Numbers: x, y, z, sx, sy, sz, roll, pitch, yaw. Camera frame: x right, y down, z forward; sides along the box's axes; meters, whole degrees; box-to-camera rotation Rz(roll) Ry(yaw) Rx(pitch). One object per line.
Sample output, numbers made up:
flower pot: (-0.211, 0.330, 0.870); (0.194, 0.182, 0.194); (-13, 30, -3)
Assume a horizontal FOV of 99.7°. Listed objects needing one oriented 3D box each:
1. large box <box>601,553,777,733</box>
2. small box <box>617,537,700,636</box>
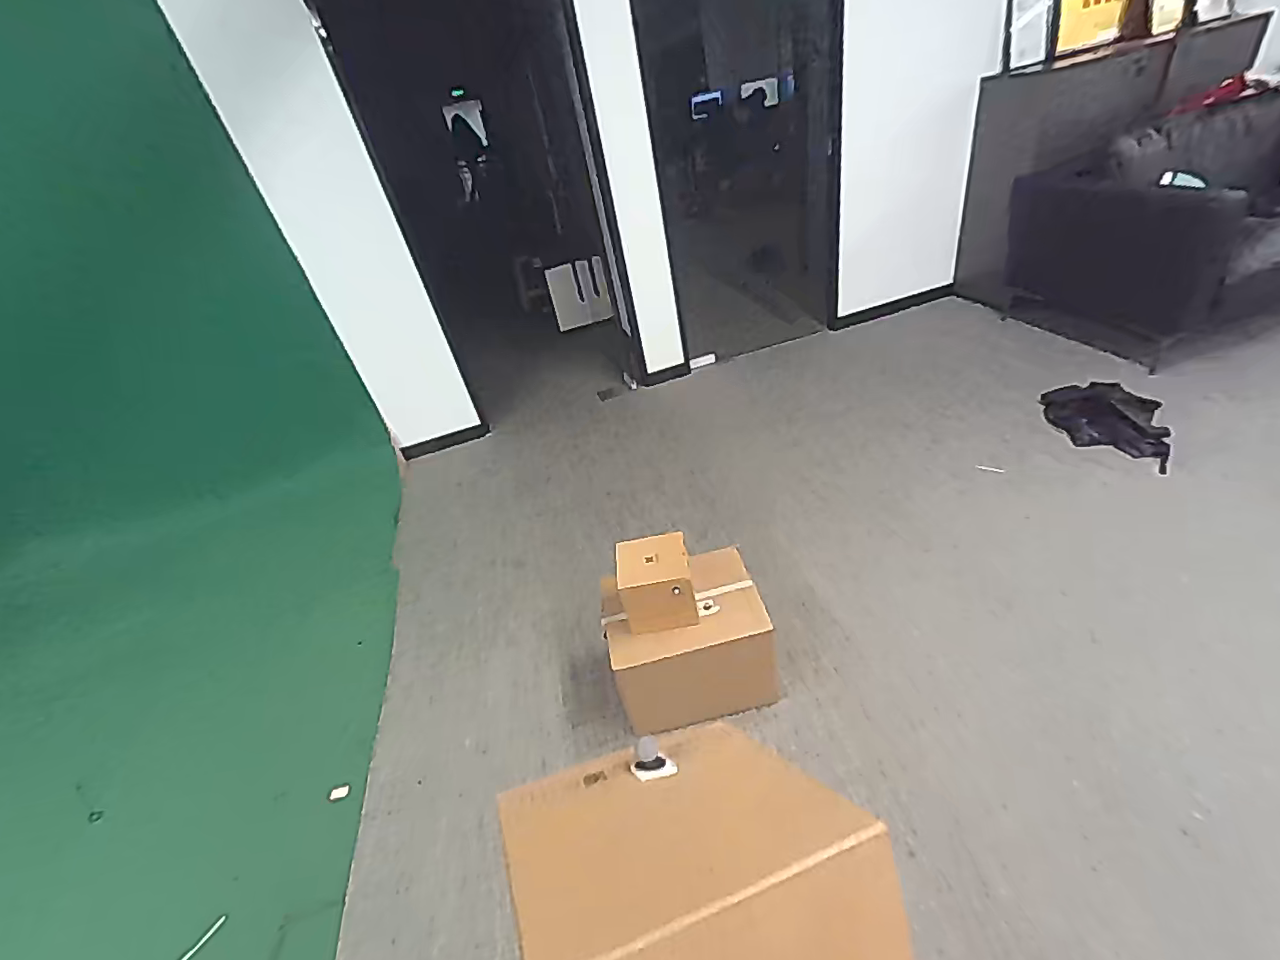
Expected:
large box: (0.130, 0.456, 1.492); (0.408, 0.320, 0.320); (-13, 35, -3)
small box: (0.044, 0.269, 1.354); (0.179, 0.176, 0.168); (-10, 34, 3)
